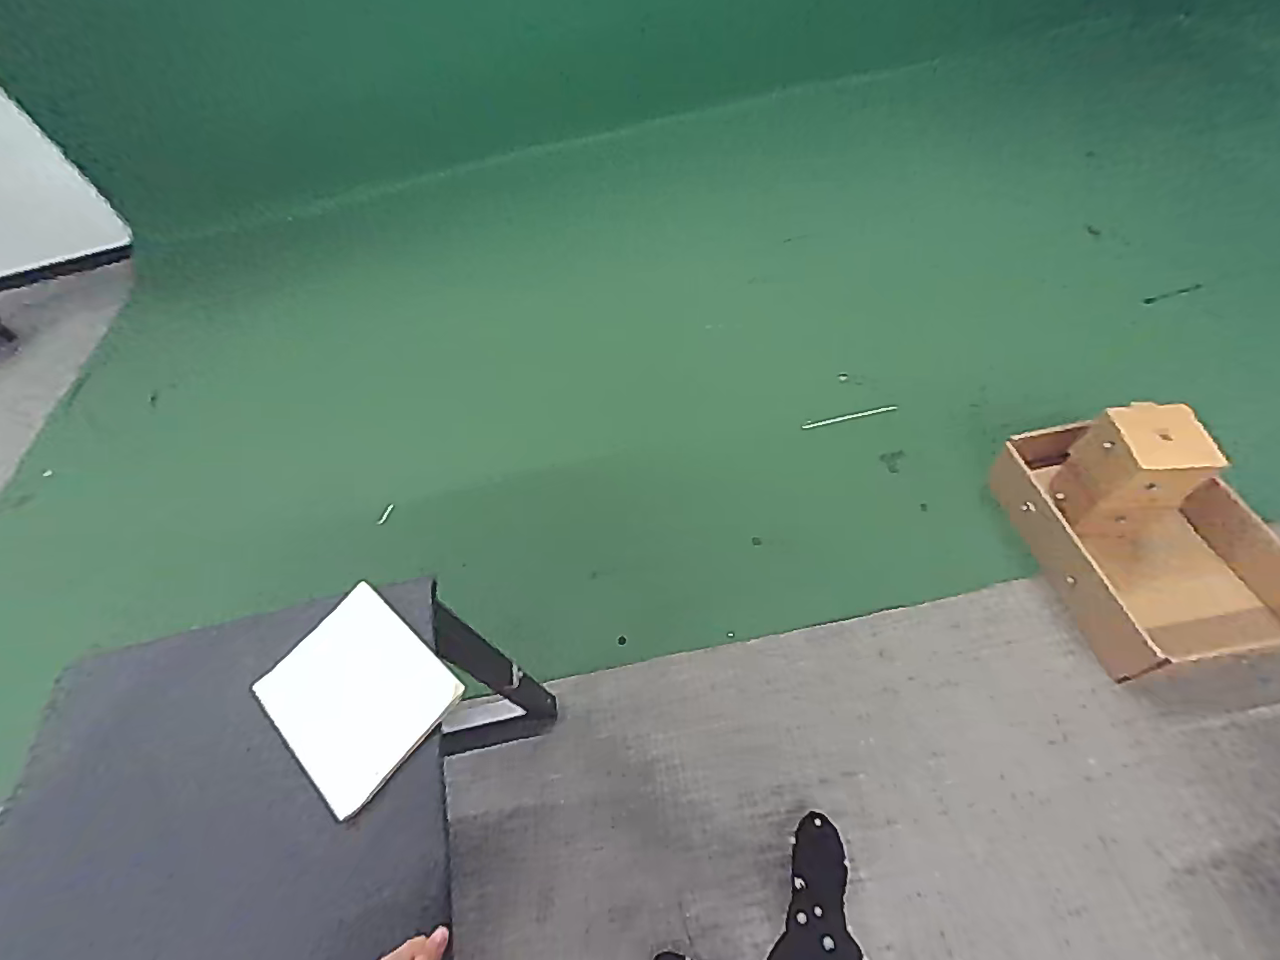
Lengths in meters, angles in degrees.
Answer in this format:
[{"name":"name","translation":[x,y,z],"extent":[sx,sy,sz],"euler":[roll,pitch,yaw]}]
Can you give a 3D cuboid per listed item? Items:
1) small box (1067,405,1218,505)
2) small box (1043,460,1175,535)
[{"name":"small box","translation":[1.154,-0.051,1.260],"extent":[0.168,0.176,0.179],"euler":[-3,56,7]},{"name":"small box","translation":[1.196,0.033,1.395],"extent":[0.179,0.176,0.168],"euler":[1,56,10]}]
